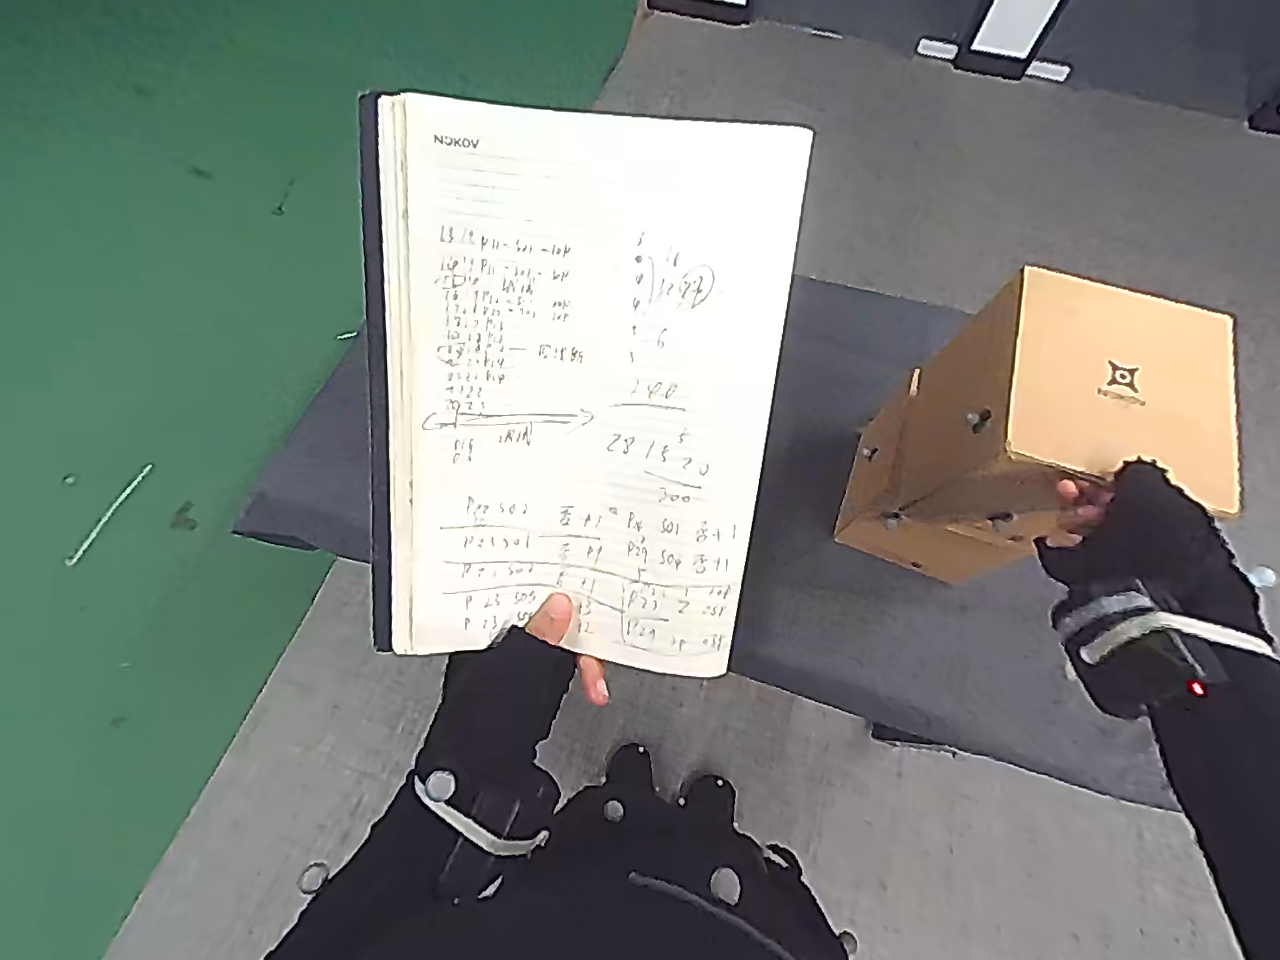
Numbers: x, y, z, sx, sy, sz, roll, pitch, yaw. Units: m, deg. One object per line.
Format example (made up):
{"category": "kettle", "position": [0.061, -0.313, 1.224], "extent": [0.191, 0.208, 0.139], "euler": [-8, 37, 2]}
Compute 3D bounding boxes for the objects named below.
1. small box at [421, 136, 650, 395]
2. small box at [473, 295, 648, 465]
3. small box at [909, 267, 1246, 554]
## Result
{"category": "small box", "position": [-0.095, -0.220, 0.583], "extent": [0.168, 0.176, 0.179], "euler": [20, 66, 7]}
{"category": "small box", "position": [-0.096, -0.149, 0.731], "extent": [0.168, 0.176, 0.179], "euler": [18, 67, 7]}
{"category": "small box", "position": [0.366, -0.049, 0.486], "extent": [0.168, 0.176, 0.179], "euler": [15, 72, 4]}
